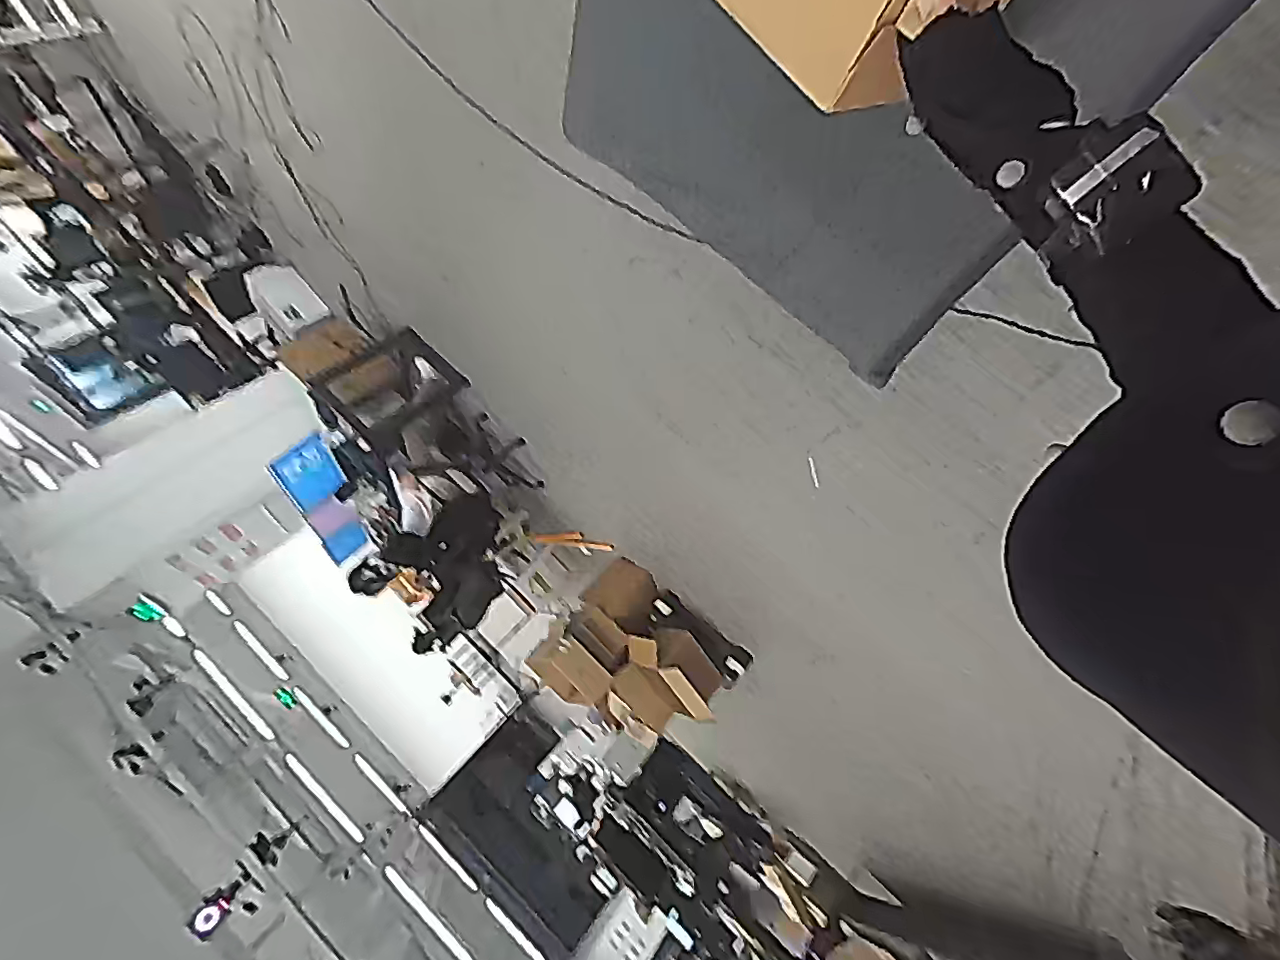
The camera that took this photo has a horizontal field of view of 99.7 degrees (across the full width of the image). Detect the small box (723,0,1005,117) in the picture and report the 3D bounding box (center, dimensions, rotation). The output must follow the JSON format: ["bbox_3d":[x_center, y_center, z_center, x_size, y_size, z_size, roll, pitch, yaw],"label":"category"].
[{"bbox_3d":[0.190,-0.418,0.406,0.179,0.176,0.168,56,152,12],"label":"small box"}]
